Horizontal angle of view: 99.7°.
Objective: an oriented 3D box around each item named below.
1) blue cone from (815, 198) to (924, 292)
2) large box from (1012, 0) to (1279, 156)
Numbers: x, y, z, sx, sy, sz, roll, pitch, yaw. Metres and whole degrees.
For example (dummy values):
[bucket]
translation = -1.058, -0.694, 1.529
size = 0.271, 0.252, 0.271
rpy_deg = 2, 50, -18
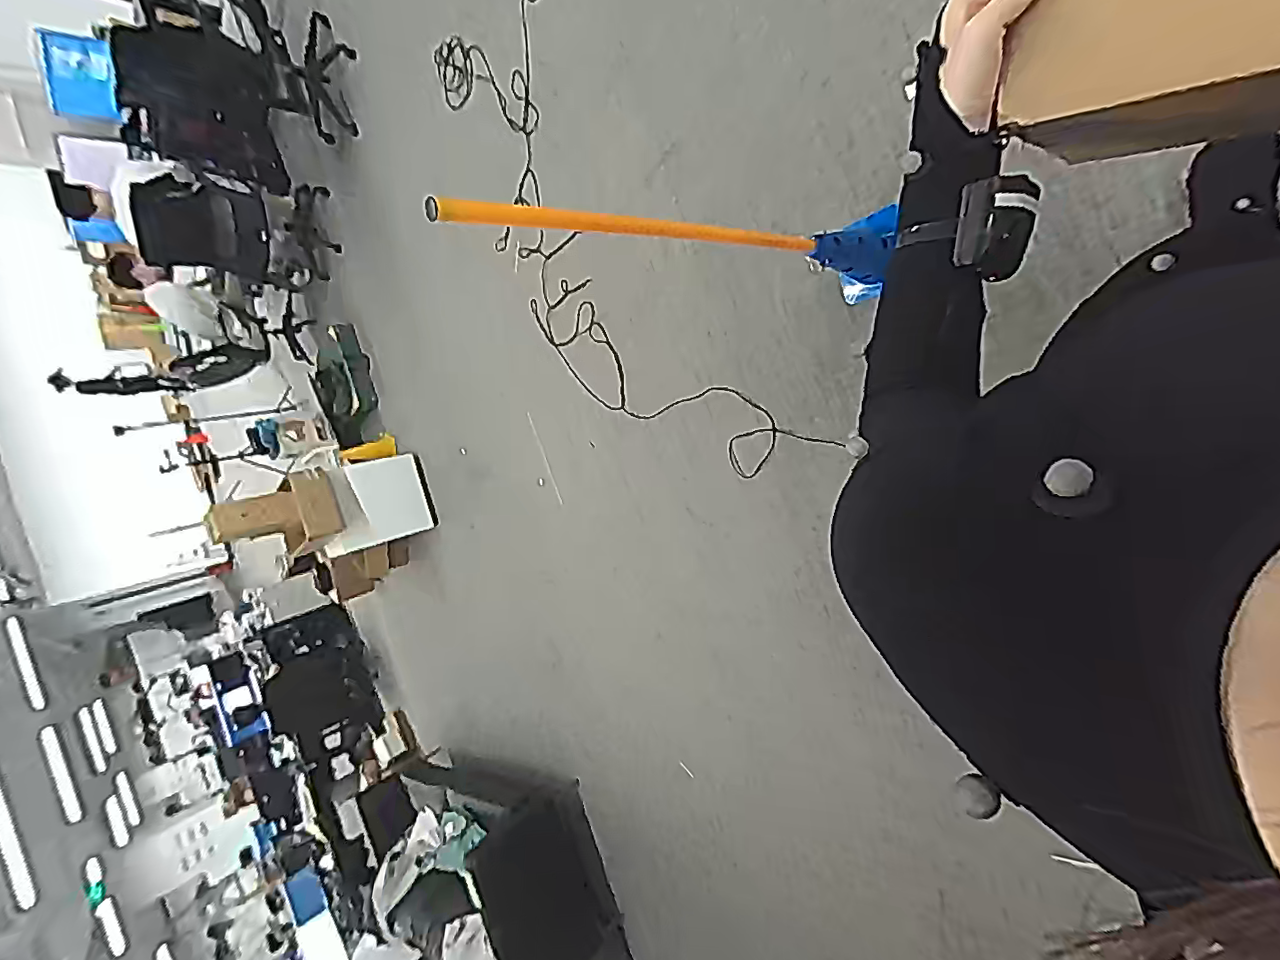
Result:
[blue cone]
translation = 0.503, -0.559, 1.274
size = 0.192, 0.380, 0.193
rpy_deg = -9, 97, 45
[large box]
translation = 0.494, -0.424, 0.313
size = 0.408, 0.320, 0.320
rpy_deg = 11, 116, 41
